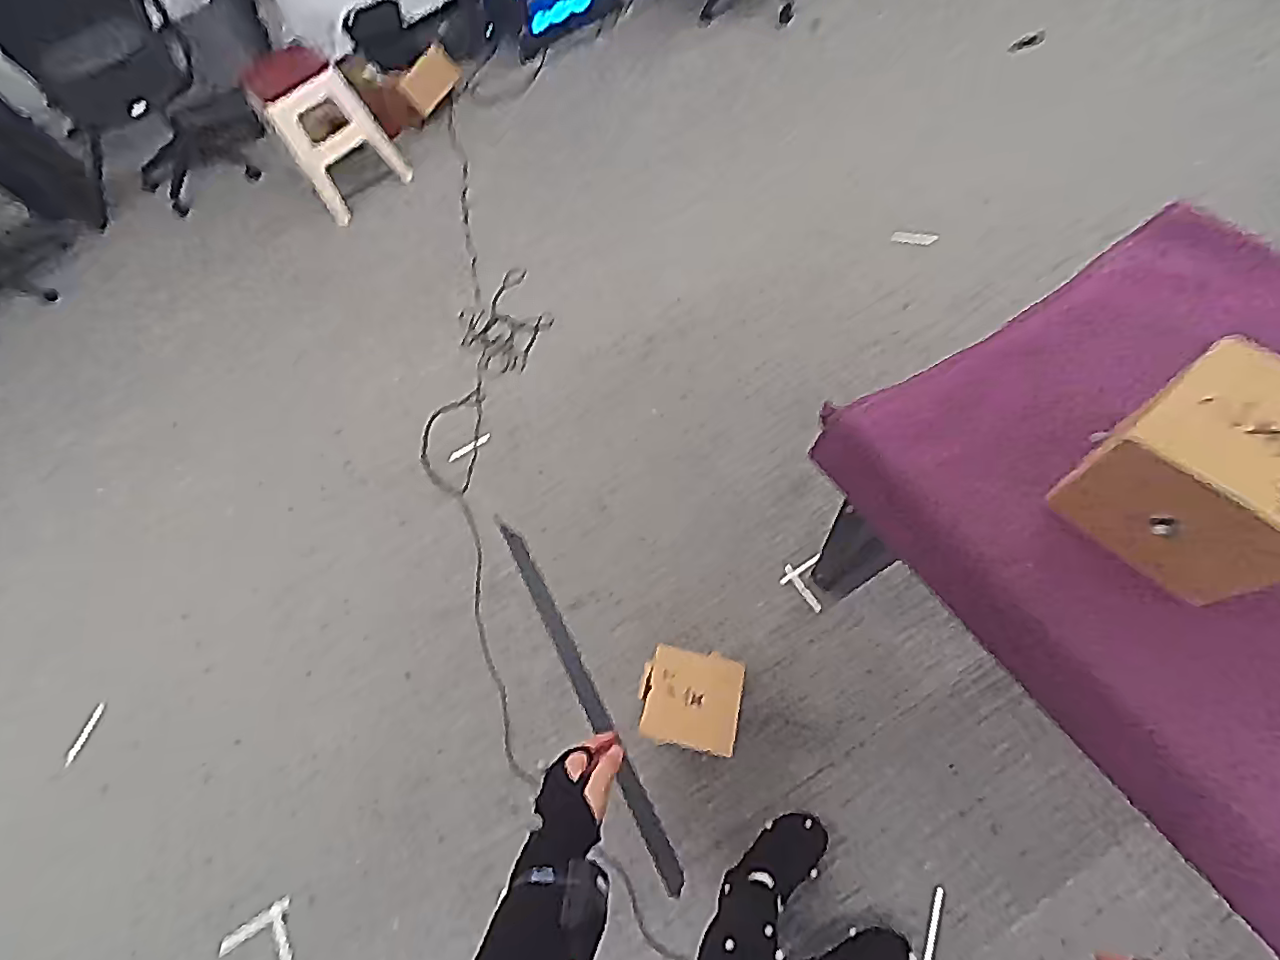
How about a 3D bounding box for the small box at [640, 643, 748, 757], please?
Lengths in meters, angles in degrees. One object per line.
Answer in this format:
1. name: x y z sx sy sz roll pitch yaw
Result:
1. small box: 0.113 0.437 1.077 0.179 0.176 0.168 9 66 13
